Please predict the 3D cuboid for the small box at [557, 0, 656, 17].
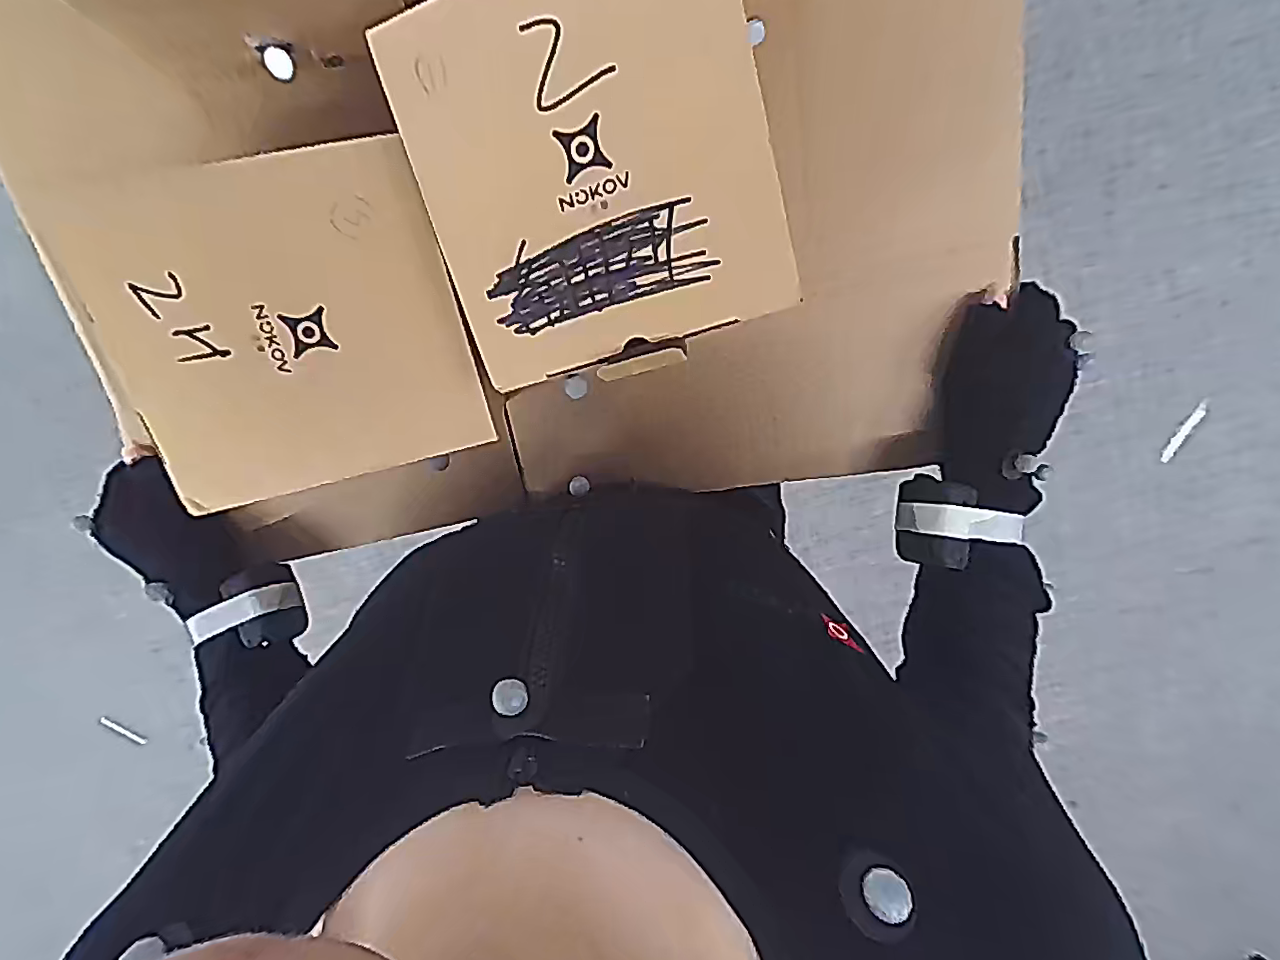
[{"bbox_3d":[0.002,-0.373,0.262,0.168,0.176,0.179,-7,106,12],"label":"small box"}]
